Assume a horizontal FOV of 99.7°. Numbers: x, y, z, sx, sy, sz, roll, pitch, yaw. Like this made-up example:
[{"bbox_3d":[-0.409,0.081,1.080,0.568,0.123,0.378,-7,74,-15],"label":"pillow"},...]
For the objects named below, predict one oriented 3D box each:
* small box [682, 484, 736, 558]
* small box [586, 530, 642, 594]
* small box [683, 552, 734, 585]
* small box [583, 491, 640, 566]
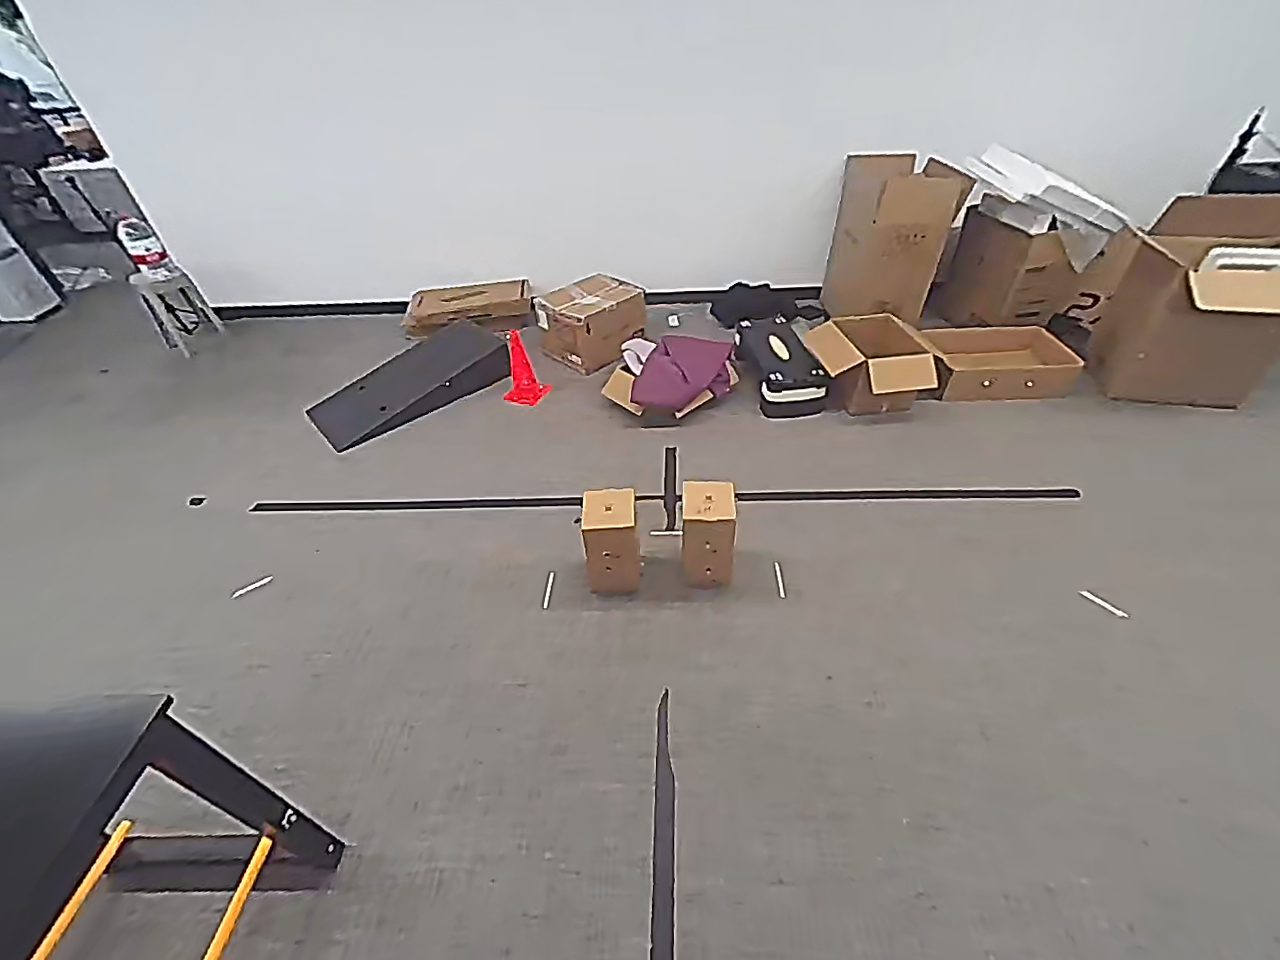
[{"bbox_3d":[0.222,0.132,1.763,0.168,0.176,0.179,0,42,5],"label":"small box"},{"bbox_3d":[-0.085,0.280,1.869,0.179,0.176,0.168,-2,41,2],"label":"small box"},{"bbox_3d":[0.234,0.252,1.878,0.168,0.176,0.179,-1,42,4],"label":"small box"},{"bbox_3d":[-0.090,0.159,1.760,0.168,0.176,0.179,-5,42,2],"label":"small box"}]
